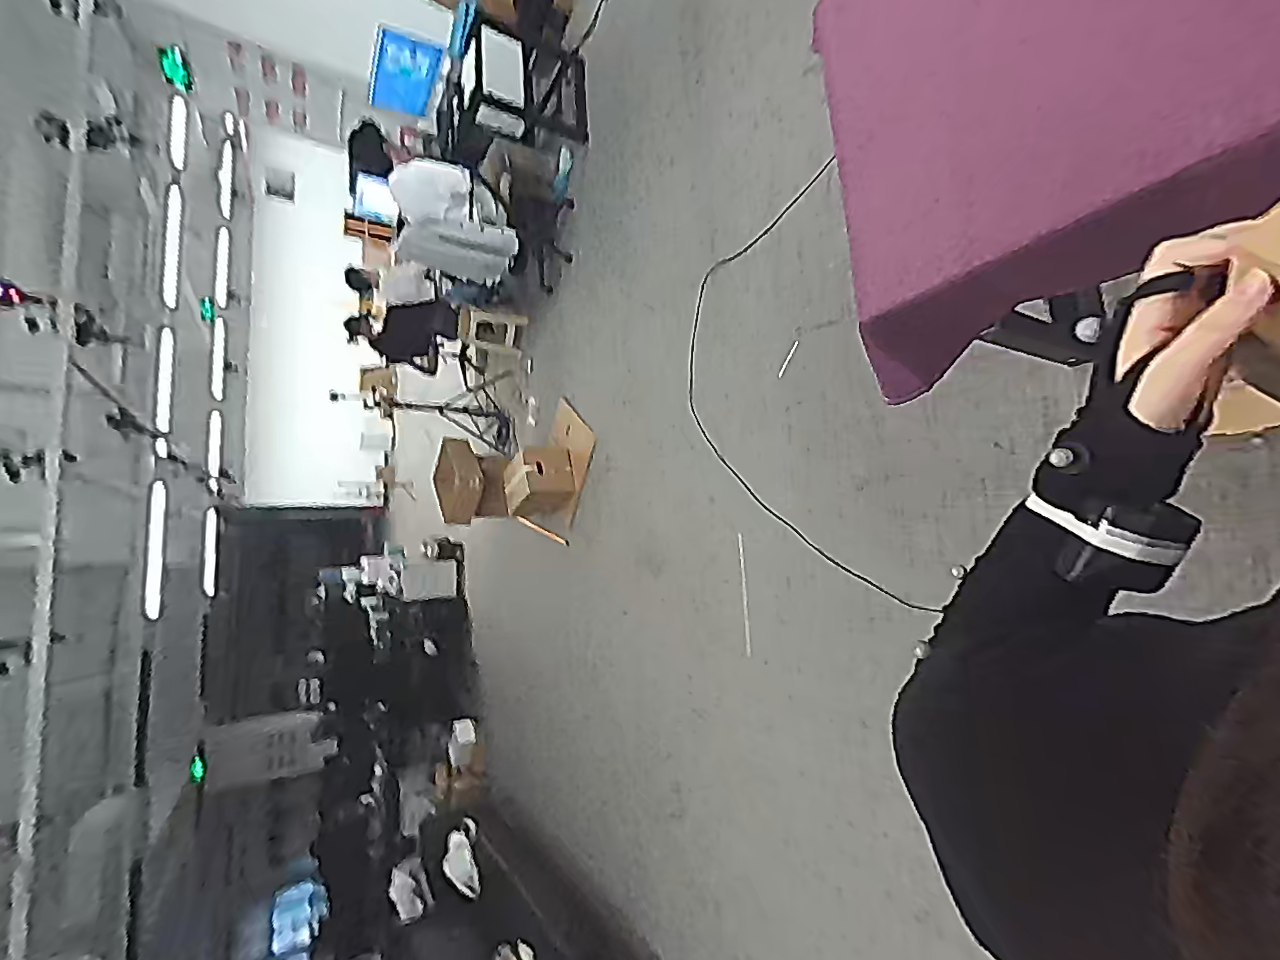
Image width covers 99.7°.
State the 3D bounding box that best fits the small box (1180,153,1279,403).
[{"bbox_3d":[0.413,-0.104,0.246,0.179,0.176,0.168,-47,50,24],"label":"small box"}]
